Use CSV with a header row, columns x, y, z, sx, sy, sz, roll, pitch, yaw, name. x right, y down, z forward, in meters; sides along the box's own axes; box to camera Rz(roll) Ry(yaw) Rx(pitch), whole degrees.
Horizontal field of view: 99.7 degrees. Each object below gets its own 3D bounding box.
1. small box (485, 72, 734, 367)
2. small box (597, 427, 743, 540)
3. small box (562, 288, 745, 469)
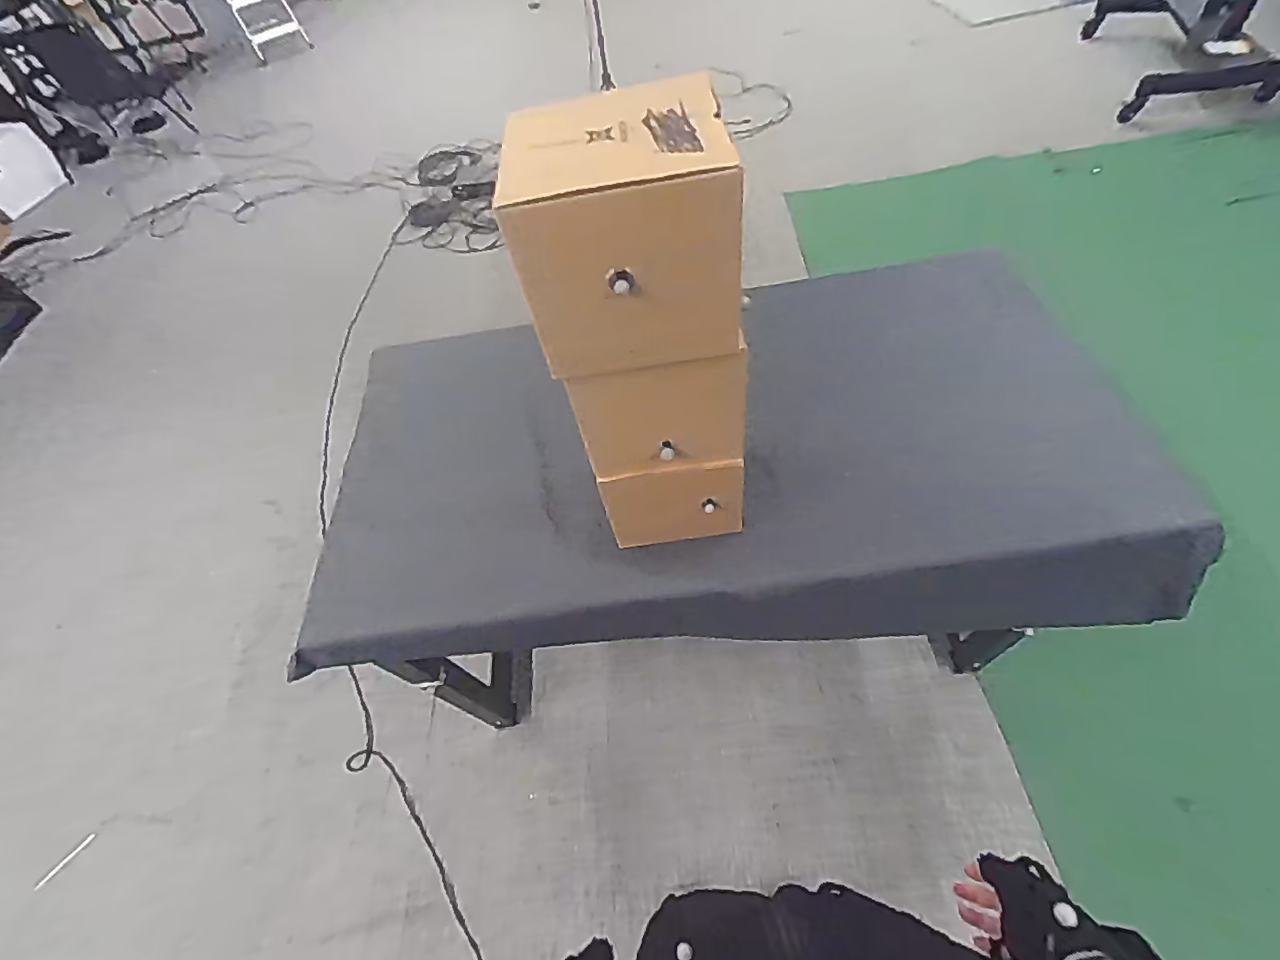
x,y,z,sx,sy,sz,roll,pitch,yaw,name
-0.014,-0.222,0.480,0.179,0.176,0.168,-5,53,6,small box
0.039,-0.034,0.747,0.179,0.176,0.168,-10,54,4,small box
0.015,-0.132,0.618,0.179,0.176,0.168,-8,55,3,small box
